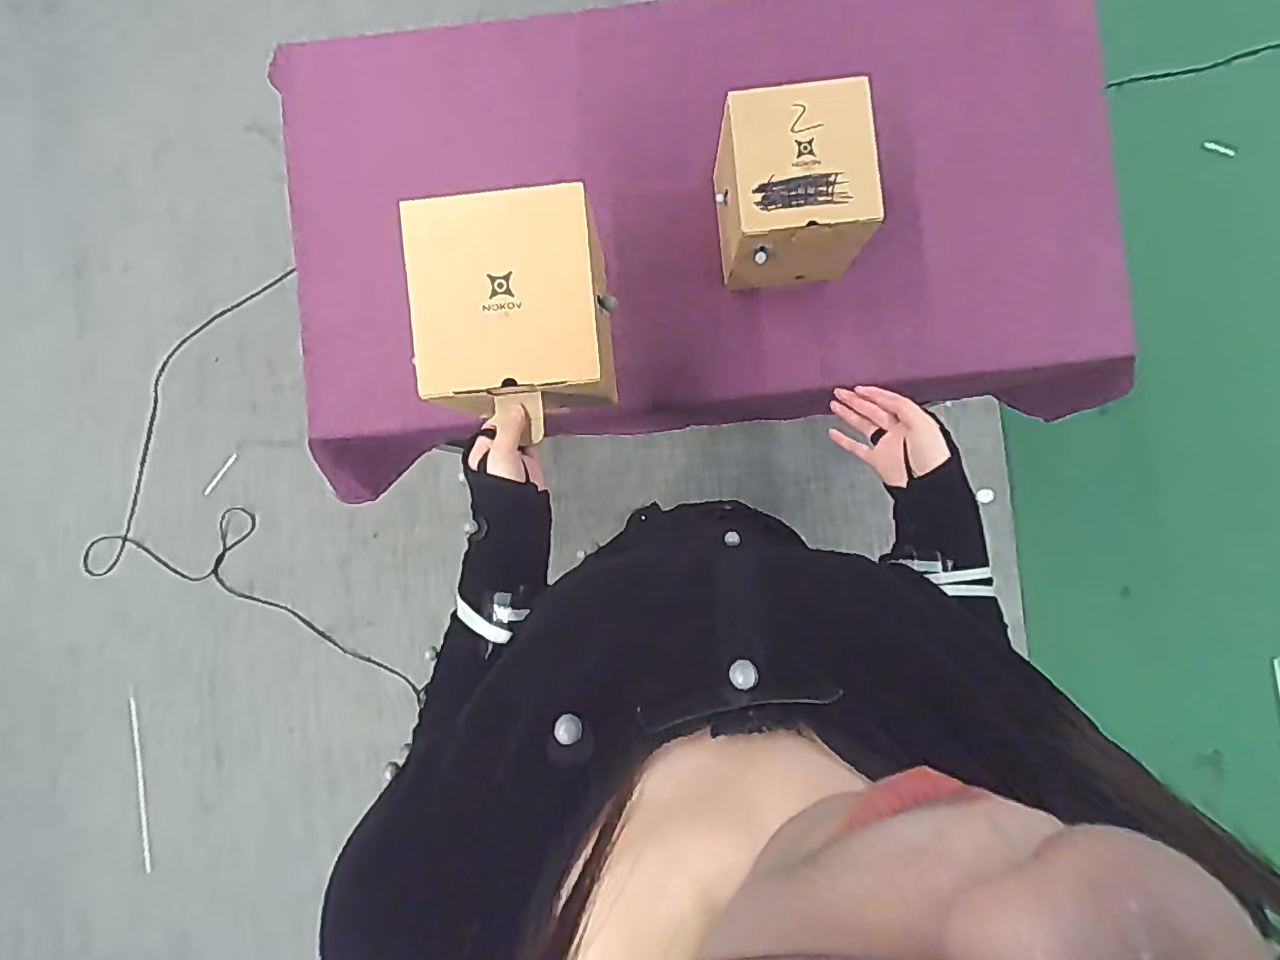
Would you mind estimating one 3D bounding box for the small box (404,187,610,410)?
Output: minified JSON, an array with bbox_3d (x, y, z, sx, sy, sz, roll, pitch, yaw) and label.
[{"bbox_3d":[-0.125,-0.174,0.570,0.168,0.176,0.179,-5,92,2],"label":"small box"}]
